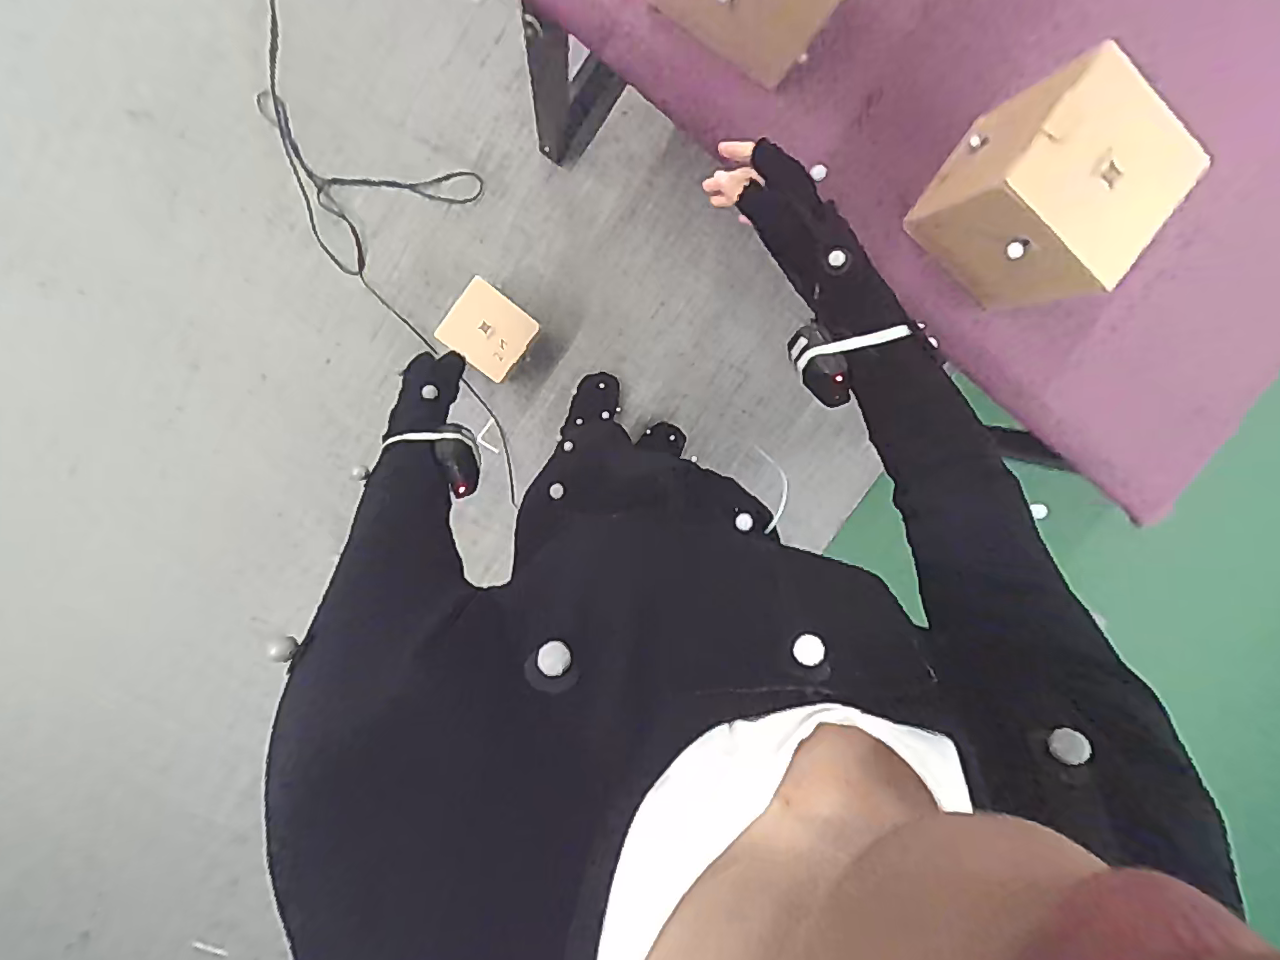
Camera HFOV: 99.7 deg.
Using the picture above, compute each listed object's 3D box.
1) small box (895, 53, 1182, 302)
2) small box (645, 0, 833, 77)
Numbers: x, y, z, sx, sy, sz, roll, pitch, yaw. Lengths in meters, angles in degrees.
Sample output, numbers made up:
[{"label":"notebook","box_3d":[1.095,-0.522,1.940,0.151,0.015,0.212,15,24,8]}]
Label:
[{"label":"small box","box_3d":[0.452,-0.330,0.640,0.179,0.176,0.168,35,94,-13]},{"label":"small box","box_3d":[0.122,-0.554,0.539,0.179,0.176,0.168,27,96,-13]}]
